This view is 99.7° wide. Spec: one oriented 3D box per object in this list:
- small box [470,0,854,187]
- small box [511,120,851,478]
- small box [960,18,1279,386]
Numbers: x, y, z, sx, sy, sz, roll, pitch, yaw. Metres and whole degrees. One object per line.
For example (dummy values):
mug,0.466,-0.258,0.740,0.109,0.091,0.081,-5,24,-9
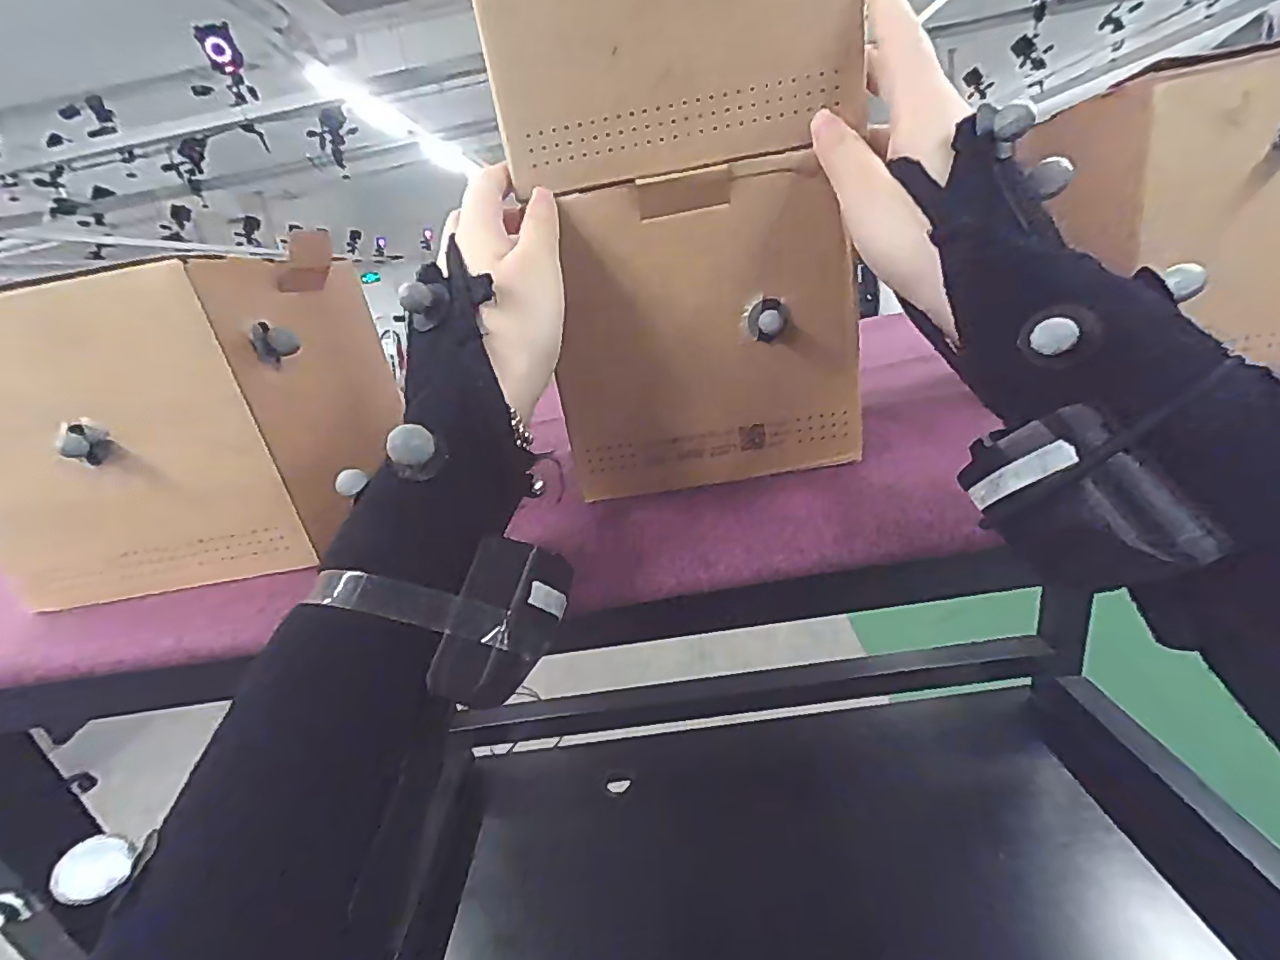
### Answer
small box,0.008,-0.259,0.304,0.179,0.176,0.168,-8,21,5
small box,0.032,-0.106,0.361,0.168,0.176,0.179,-8,20,5
small box,0.340,-0.163,0.349,0.179,0.176,0.168,-10,18,3
